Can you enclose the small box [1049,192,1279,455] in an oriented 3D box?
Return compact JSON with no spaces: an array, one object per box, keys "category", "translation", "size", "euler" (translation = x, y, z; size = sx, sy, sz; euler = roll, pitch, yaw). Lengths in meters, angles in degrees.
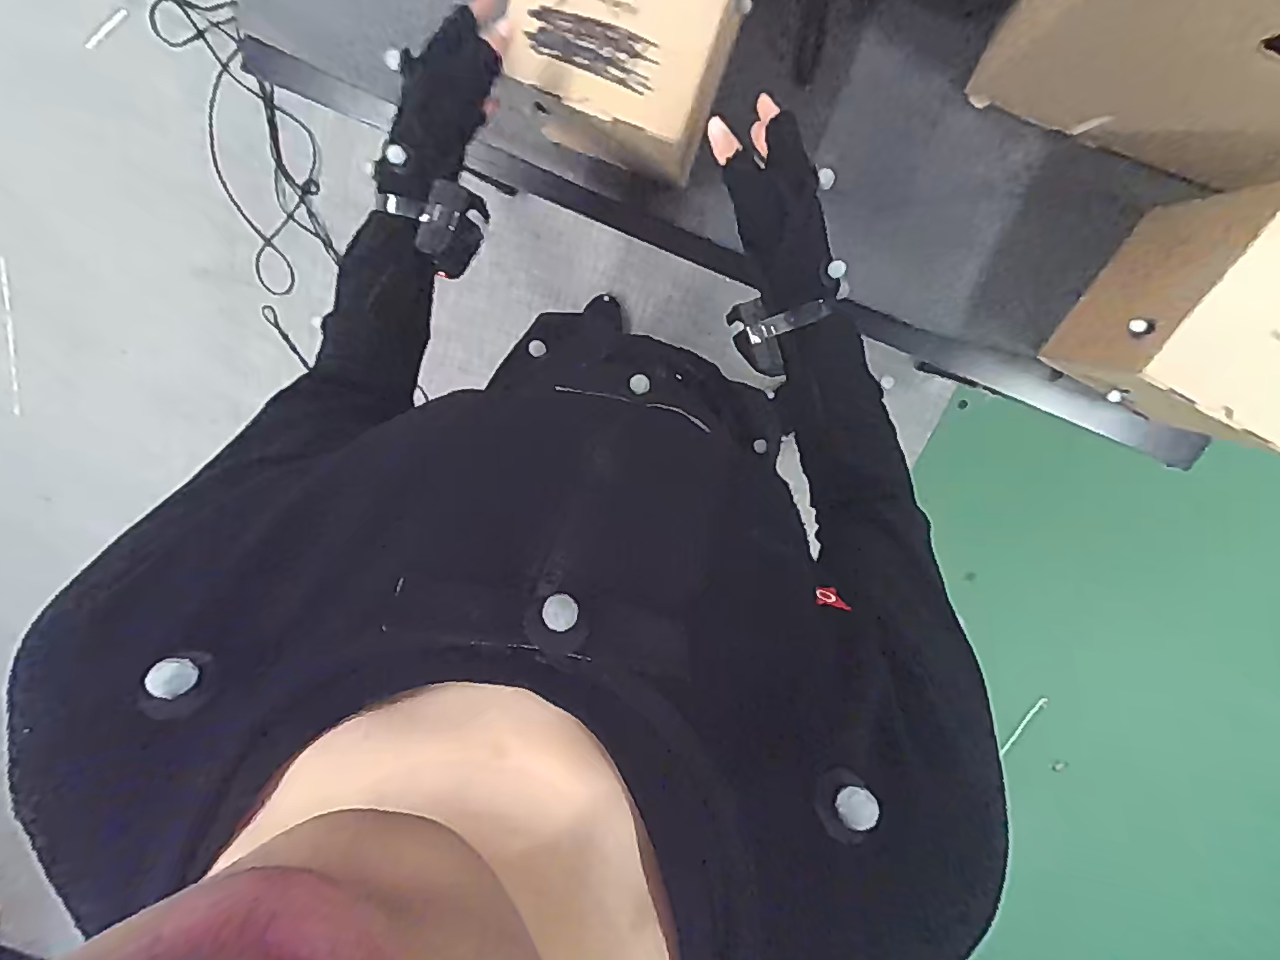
[{"category":"small box","translation":[0.559,-0.154,0.522],"size":[0.168,0.176,0.179],"euler":[27,112,-2]}]
